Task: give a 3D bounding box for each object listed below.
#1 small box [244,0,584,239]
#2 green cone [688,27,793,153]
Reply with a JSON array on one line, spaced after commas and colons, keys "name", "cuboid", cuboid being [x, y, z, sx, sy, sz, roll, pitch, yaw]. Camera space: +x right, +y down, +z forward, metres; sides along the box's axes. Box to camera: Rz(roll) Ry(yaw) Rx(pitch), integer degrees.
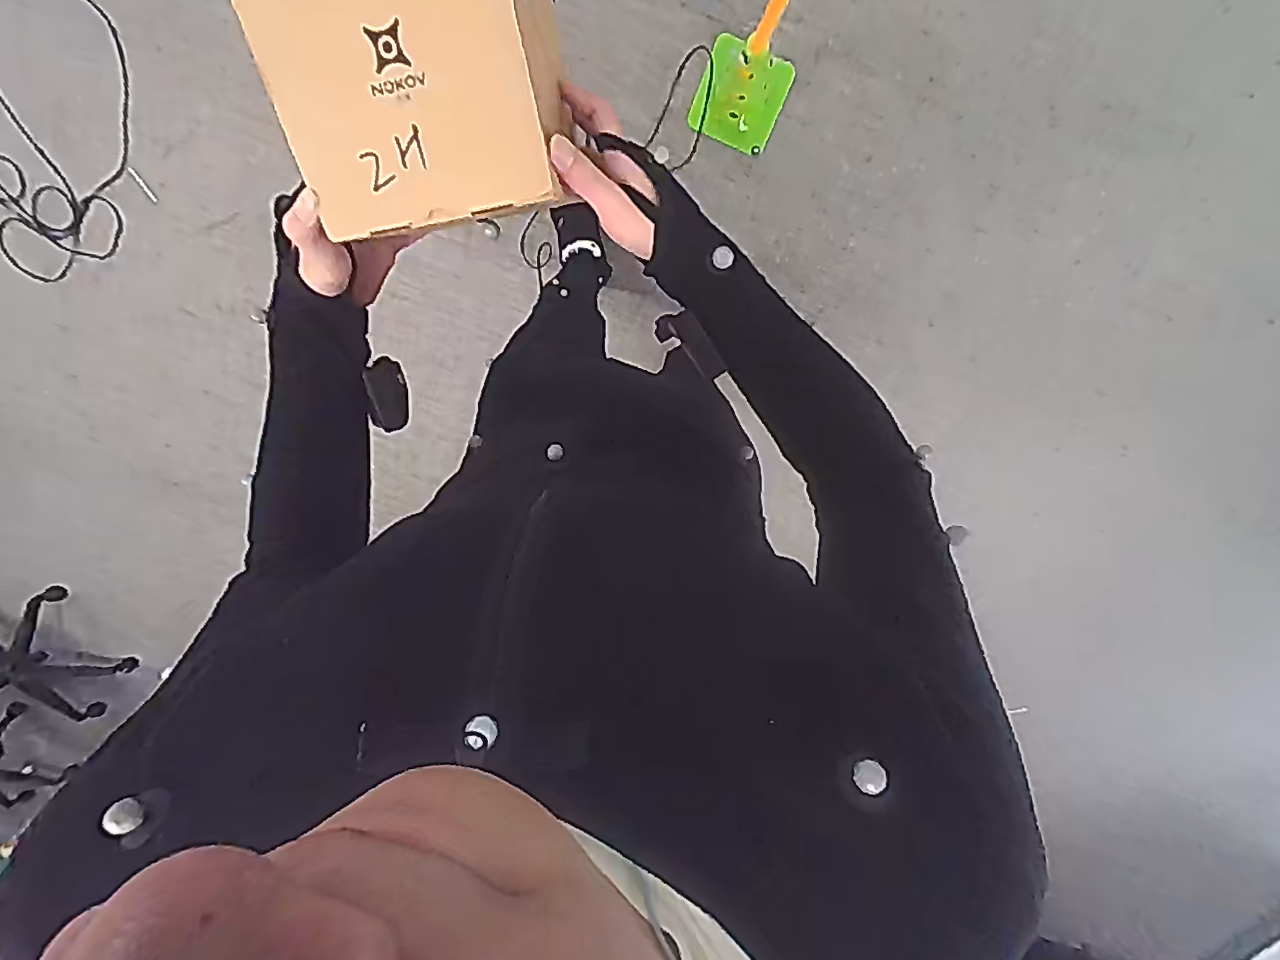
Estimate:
[{"name": "small box", "cuboid": [-0.146, -0.291, 0.407, 0.168, 0.176, 0.179, -7, 117, 7]}, {"name": "green cone", "cuboid": [0.221, -0.850, 1.123, 0.202, 0.368, 0.200, 22, 112, -4]}]
